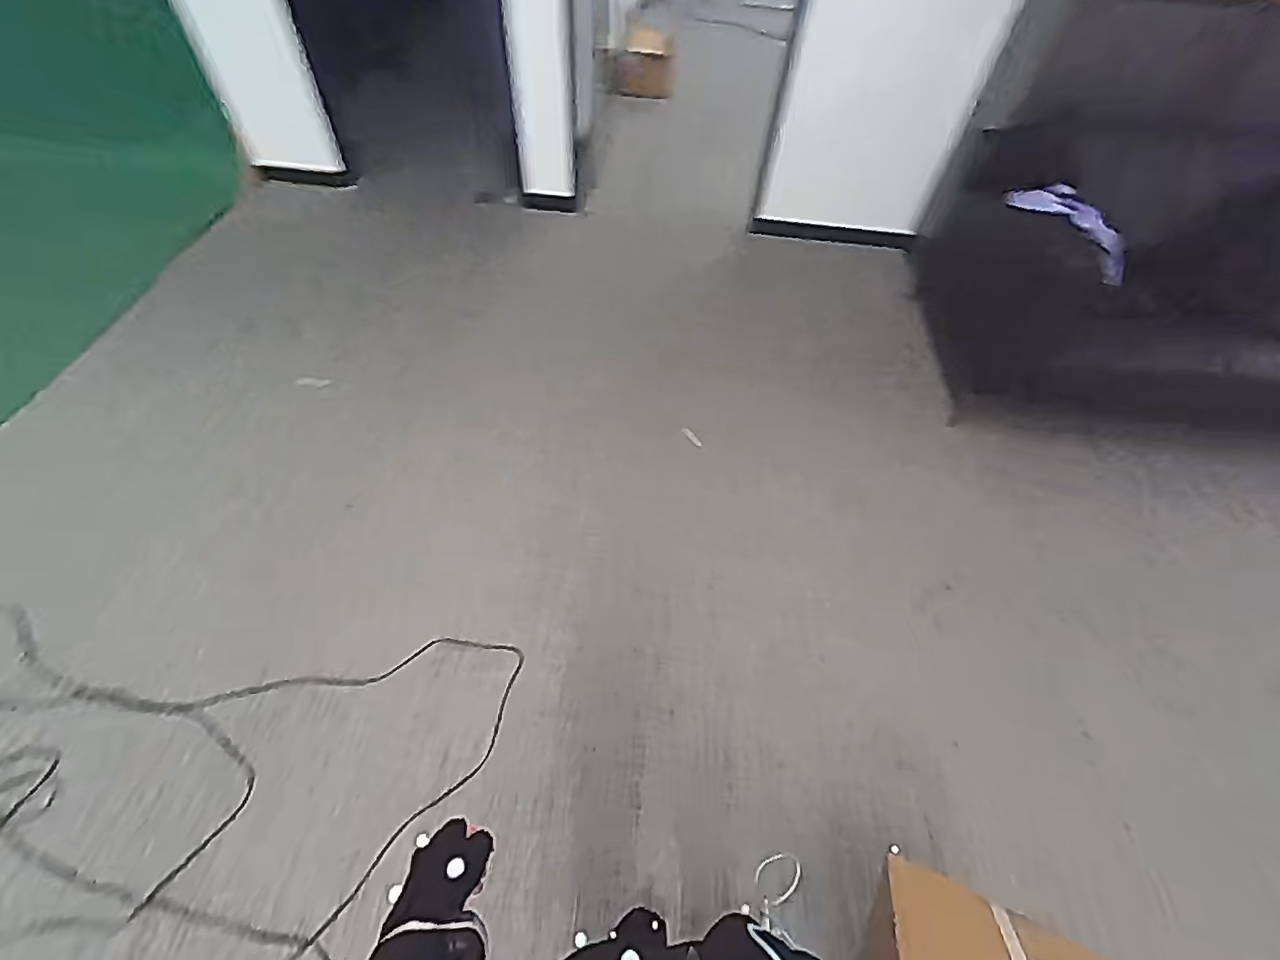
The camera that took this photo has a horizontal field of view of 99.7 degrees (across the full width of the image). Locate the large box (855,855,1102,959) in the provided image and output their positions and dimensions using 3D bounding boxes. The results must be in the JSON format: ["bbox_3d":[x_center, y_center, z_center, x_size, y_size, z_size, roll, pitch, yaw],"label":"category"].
[{"bbox_3d":[0.433,0.781,0.656,0.320,0.408,0.320,17,89,21],"label":"large box"}]
